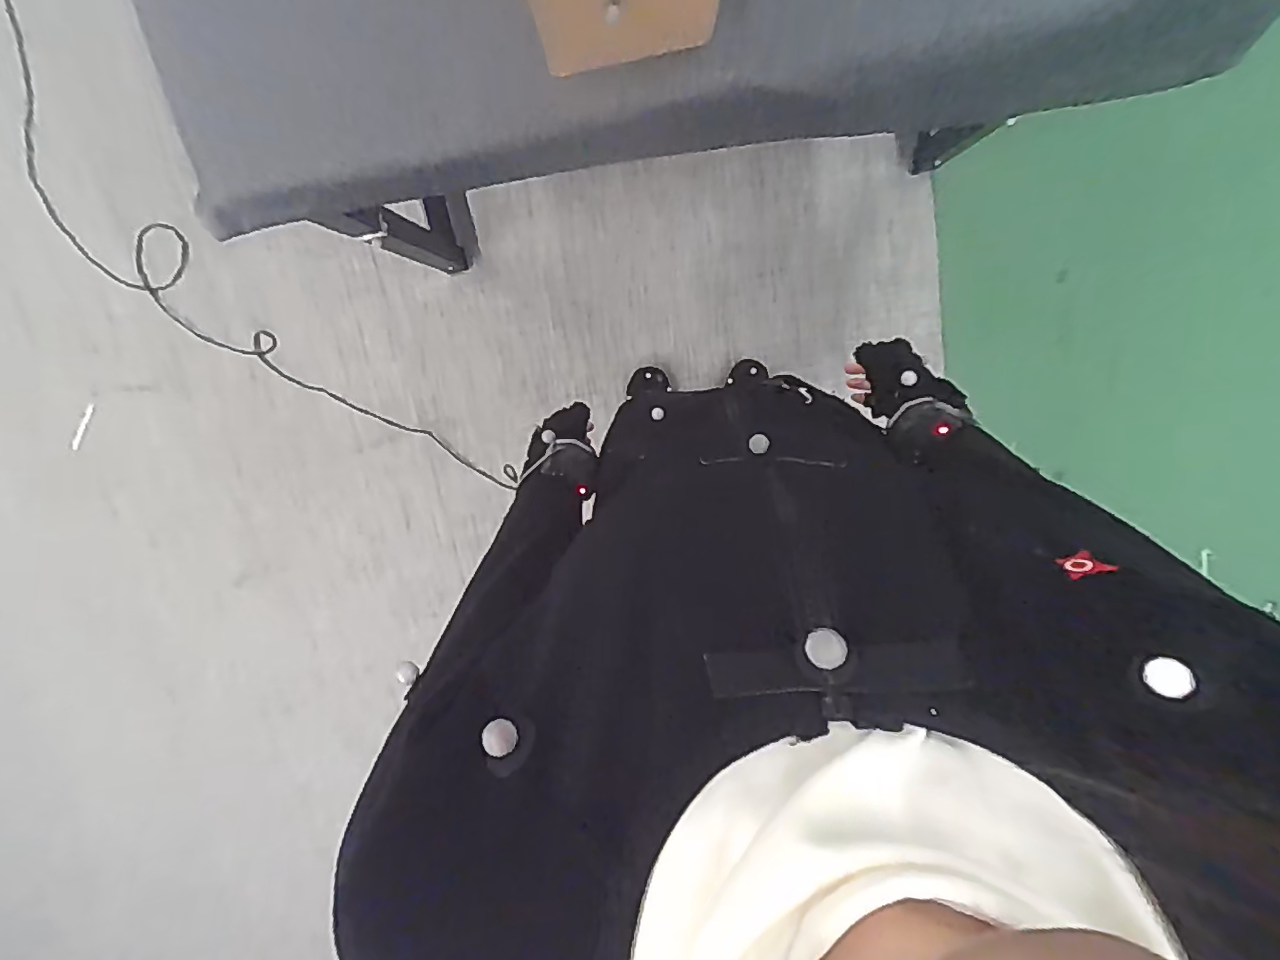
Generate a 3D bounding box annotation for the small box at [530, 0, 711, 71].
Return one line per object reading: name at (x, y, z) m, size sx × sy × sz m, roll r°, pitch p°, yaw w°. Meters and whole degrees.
small box at (-0.027, -0.512, 0.488) m, size 0.179 × 0.176 × 0.168 m, roll -10°, pitch 102°, yaw 3°
